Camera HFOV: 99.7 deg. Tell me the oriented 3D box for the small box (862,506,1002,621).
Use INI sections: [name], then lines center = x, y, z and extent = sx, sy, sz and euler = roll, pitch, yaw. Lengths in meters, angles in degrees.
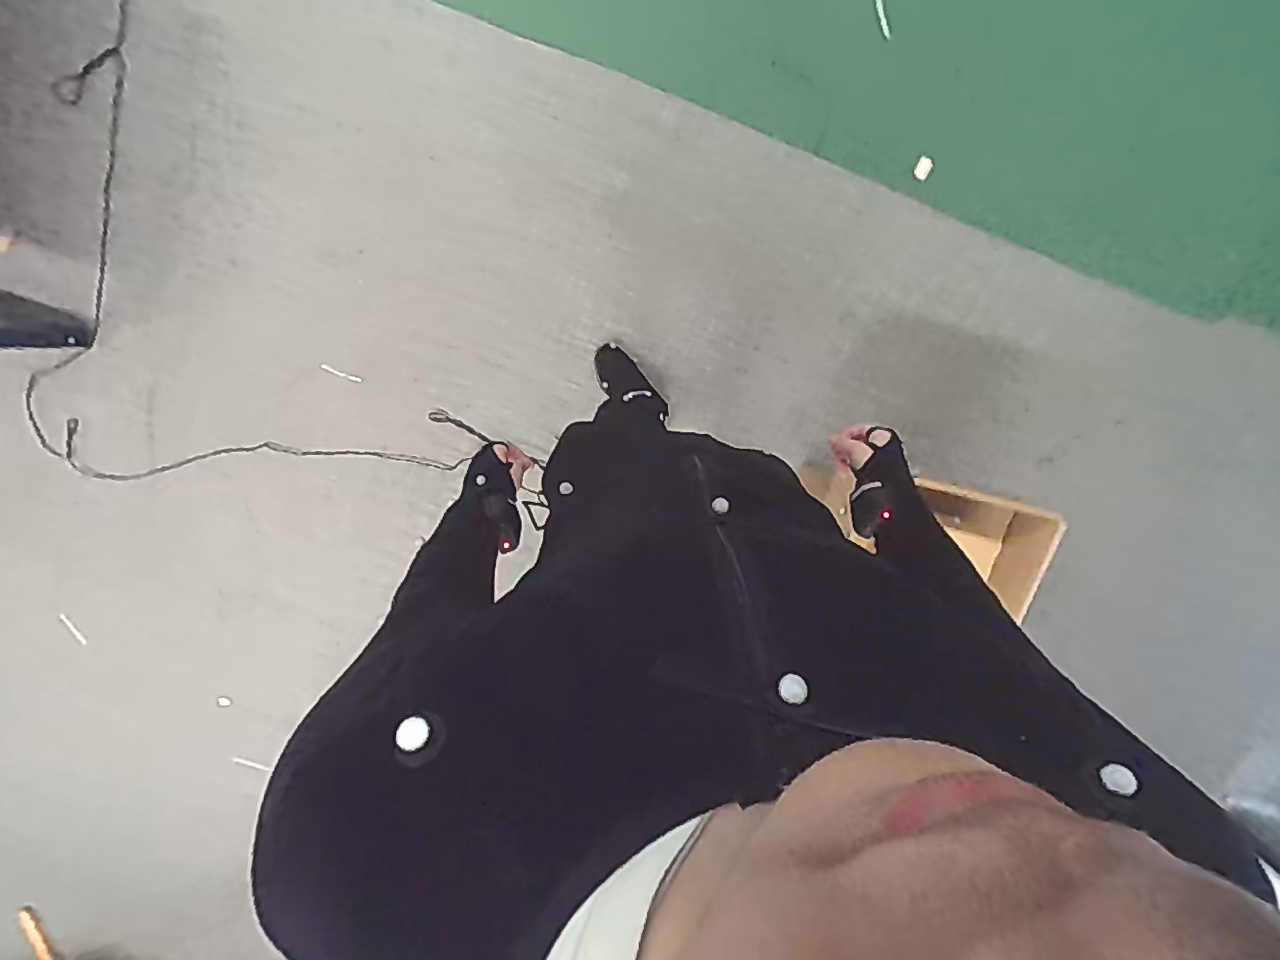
[small box]
center = 0.594, 0.165, 1.131
extent = 0.179, 0.176, 0.168
euler = 15, 104, -2
